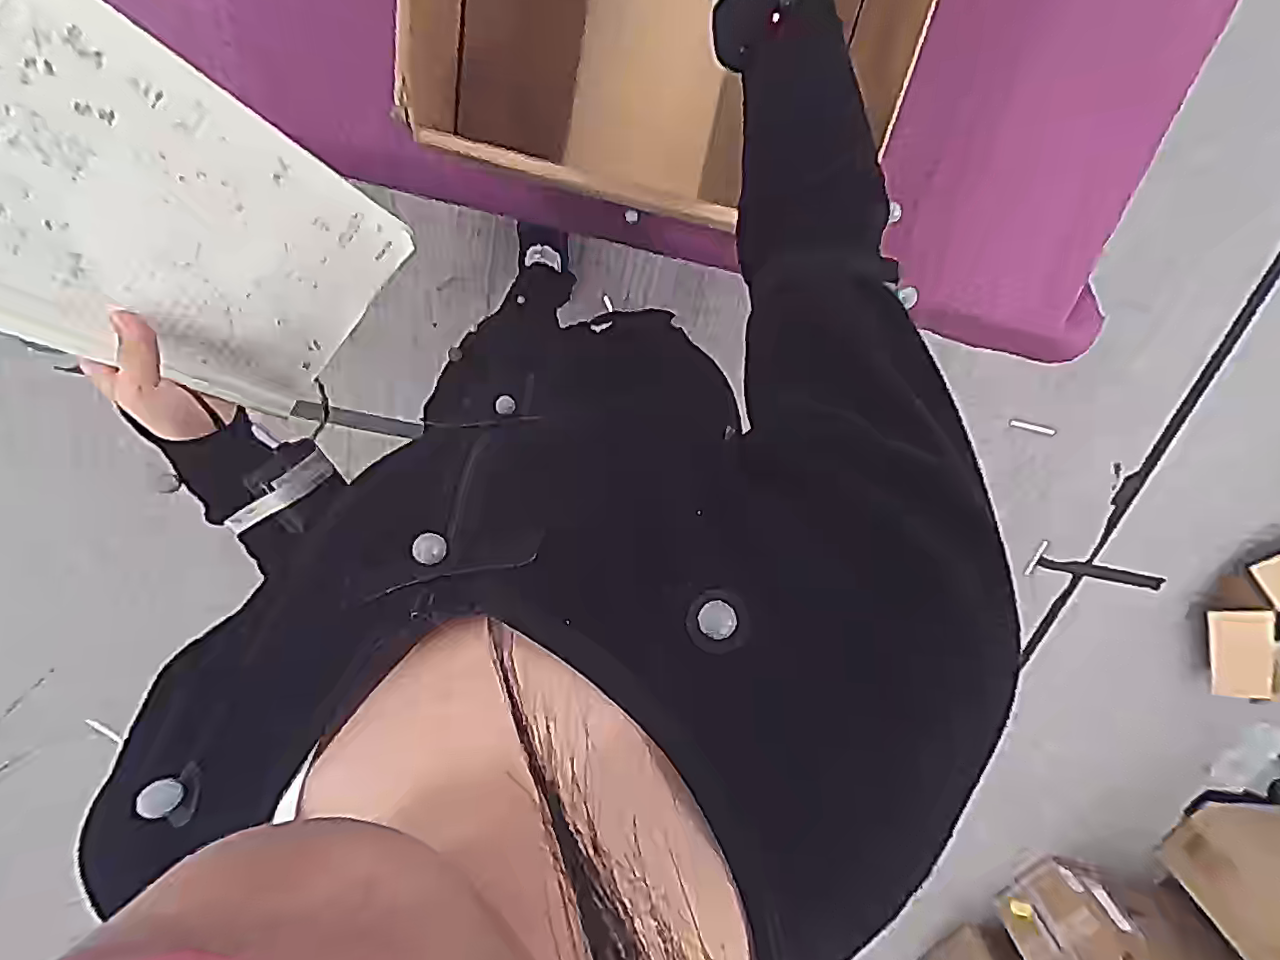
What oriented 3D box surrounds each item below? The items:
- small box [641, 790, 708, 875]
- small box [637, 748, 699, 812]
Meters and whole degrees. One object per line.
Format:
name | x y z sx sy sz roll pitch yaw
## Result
small box | 0.113 1.216 1.874 0.179 0.176 0.168 -28 113 11
small box | 0.102 1.145 2.023 0.179 0.176 0.168 -29 114 11
